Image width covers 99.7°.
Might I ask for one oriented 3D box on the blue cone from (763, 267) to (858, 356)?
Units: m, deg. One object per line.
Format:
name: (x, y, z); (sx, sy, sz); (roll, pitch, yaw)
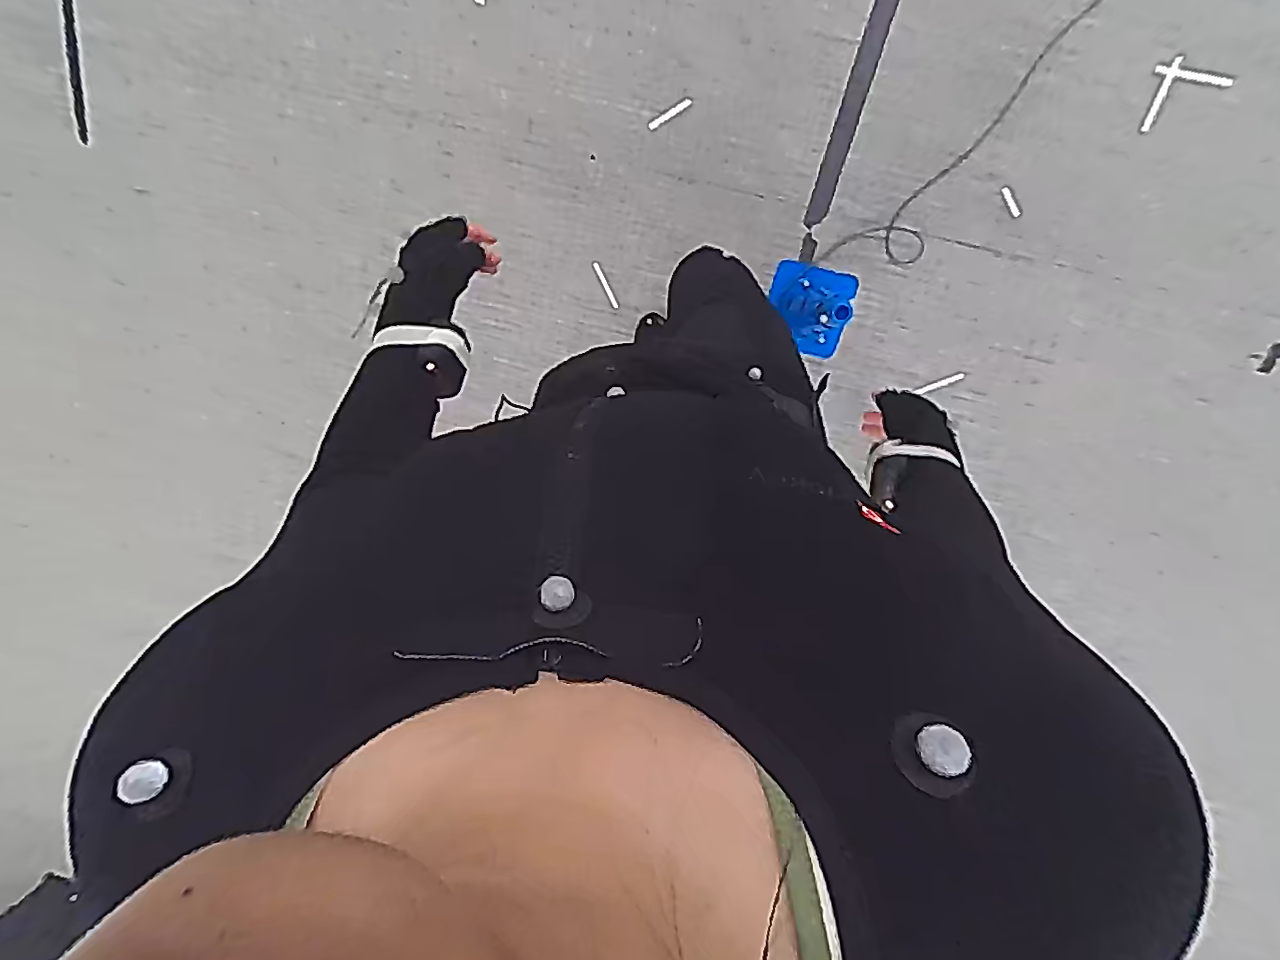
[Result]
blue cone: (0.392, -0.354, 1.148); (0.193, 0.380, 0.192); (13, 109, 1)
